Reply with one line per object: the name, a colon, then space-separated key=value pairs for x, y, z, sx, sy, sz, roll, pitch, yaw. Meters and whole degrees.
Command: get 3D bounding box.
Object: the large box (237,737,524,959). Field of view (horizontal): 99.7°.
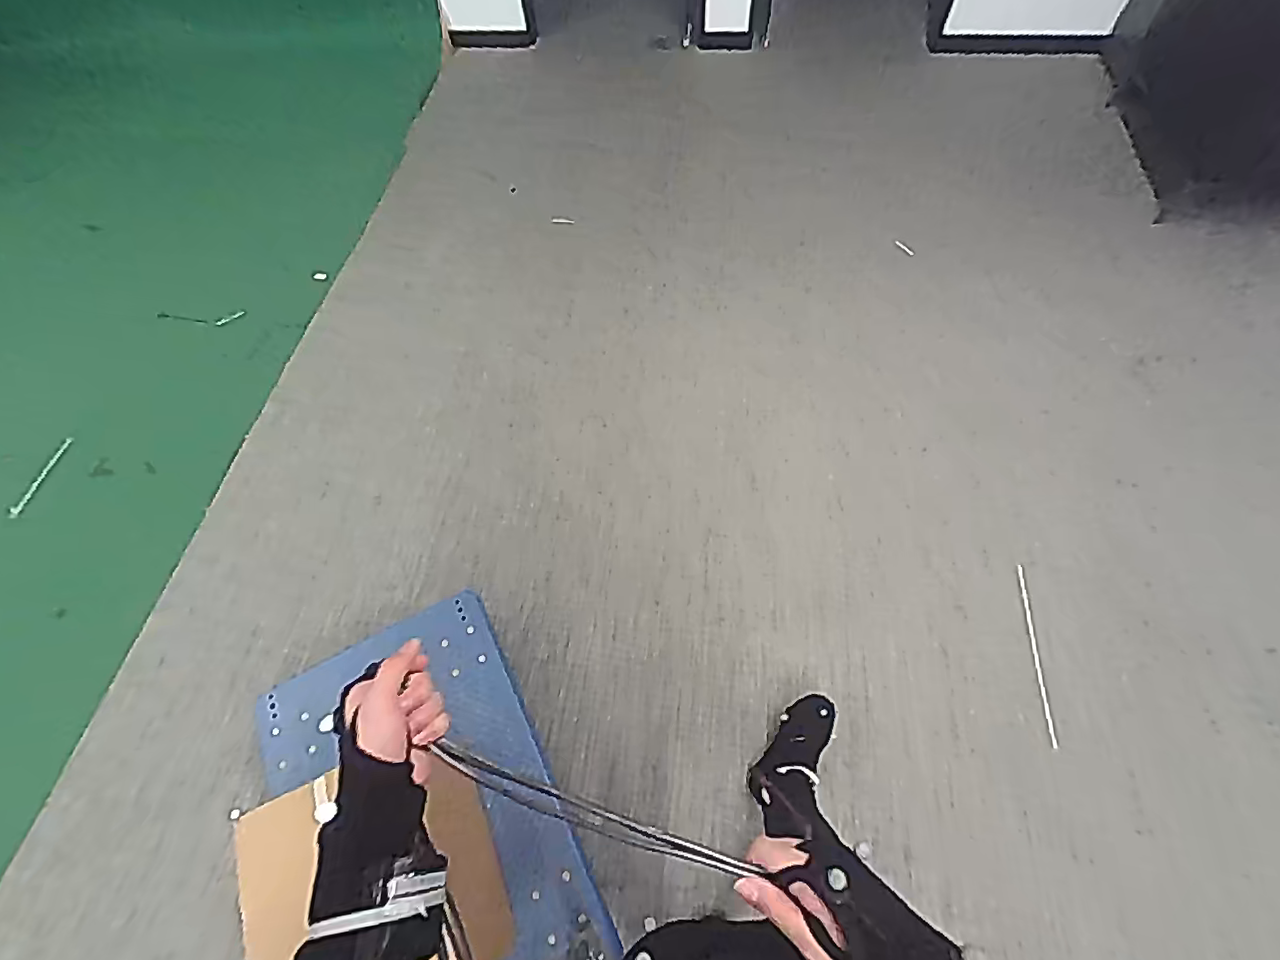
large box: x=-0.457 y=0.747 z=0.994 sx=0.320 sy=0.320 sz=0.408 roll=-24 pitch=63 yaw=-10
